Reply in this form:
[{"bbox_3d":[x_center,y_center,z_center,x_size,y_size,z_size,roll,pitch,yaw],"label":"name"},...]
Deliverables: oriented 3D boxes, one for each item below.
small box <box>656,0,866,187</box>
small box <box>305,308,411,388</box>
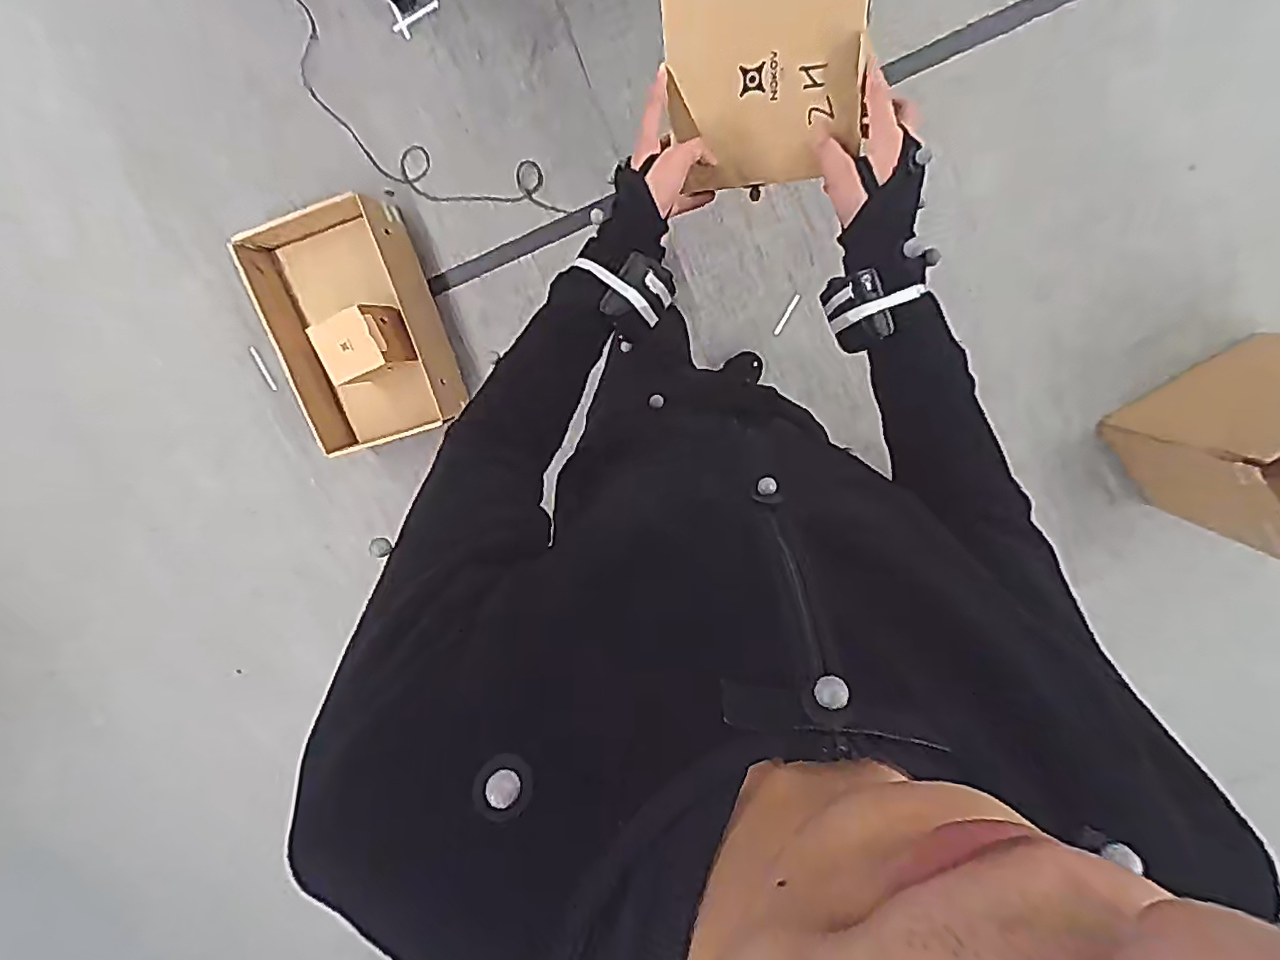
[{"bbox_3d":[0.124,-0.394,0.543,0.179,0.176,0.168,2,120,16],"label":"small box"},{"bbox_3d":[-0.772,-0.369,1.509,0.179,0.176,0.168,-20,102,11],"label":"small box"}]
